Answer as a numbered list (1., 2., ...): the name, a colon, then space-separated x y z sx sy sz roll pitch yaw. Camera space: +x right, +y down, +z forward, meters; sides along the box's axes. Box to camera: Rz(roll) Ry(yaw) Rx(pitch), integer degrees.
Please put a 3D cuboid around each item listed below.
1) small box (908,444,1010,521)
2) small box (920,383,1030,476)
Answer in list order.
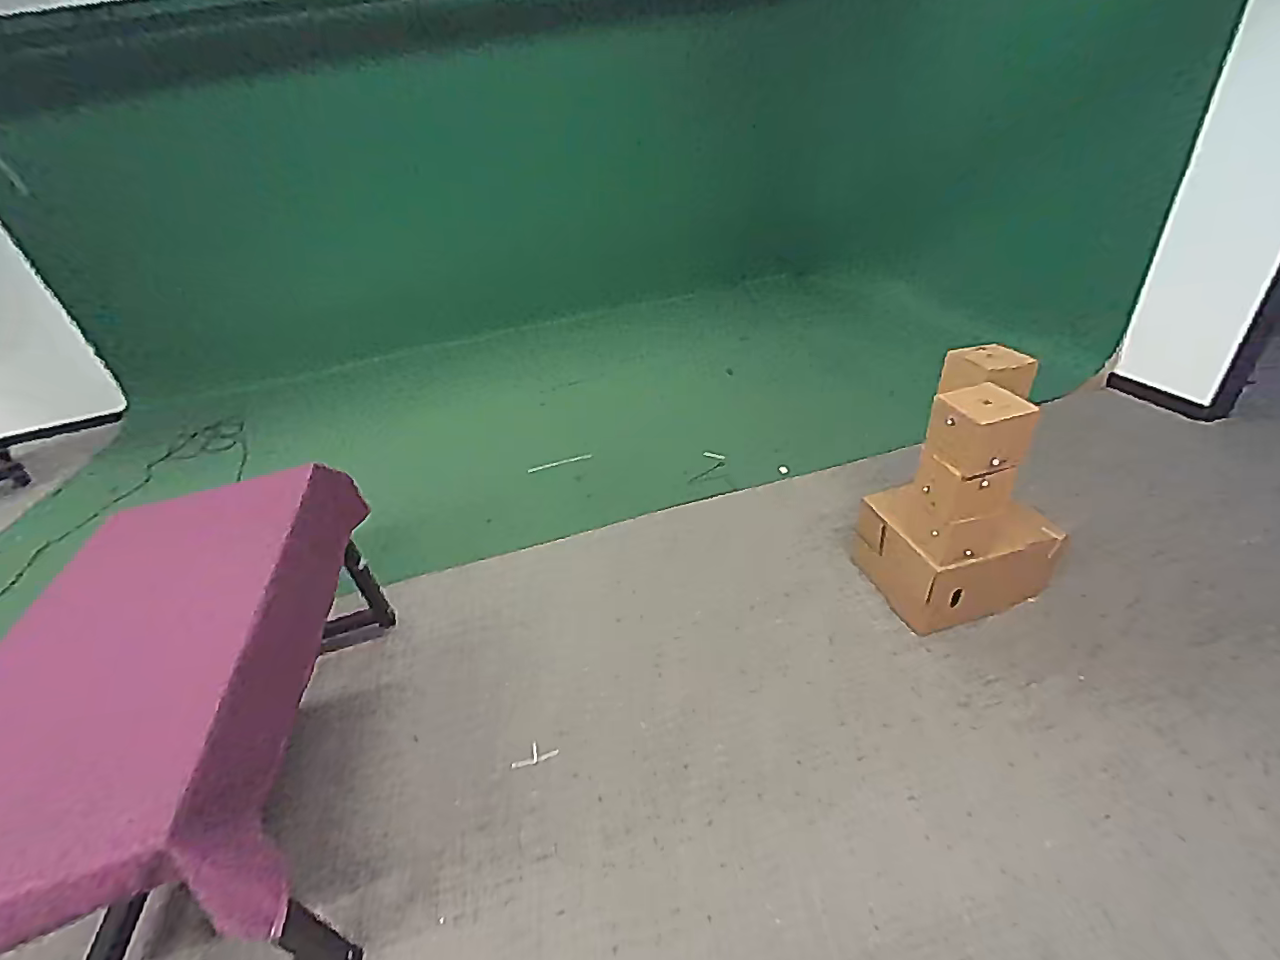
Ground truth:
1. small box: 0.902 -0.007 1.549 0.179 0.176 0.168 -12 35 -4
2. small box: 0.885 -0.136 1.450 0.168 0.176 0.179 -15 36 -7
